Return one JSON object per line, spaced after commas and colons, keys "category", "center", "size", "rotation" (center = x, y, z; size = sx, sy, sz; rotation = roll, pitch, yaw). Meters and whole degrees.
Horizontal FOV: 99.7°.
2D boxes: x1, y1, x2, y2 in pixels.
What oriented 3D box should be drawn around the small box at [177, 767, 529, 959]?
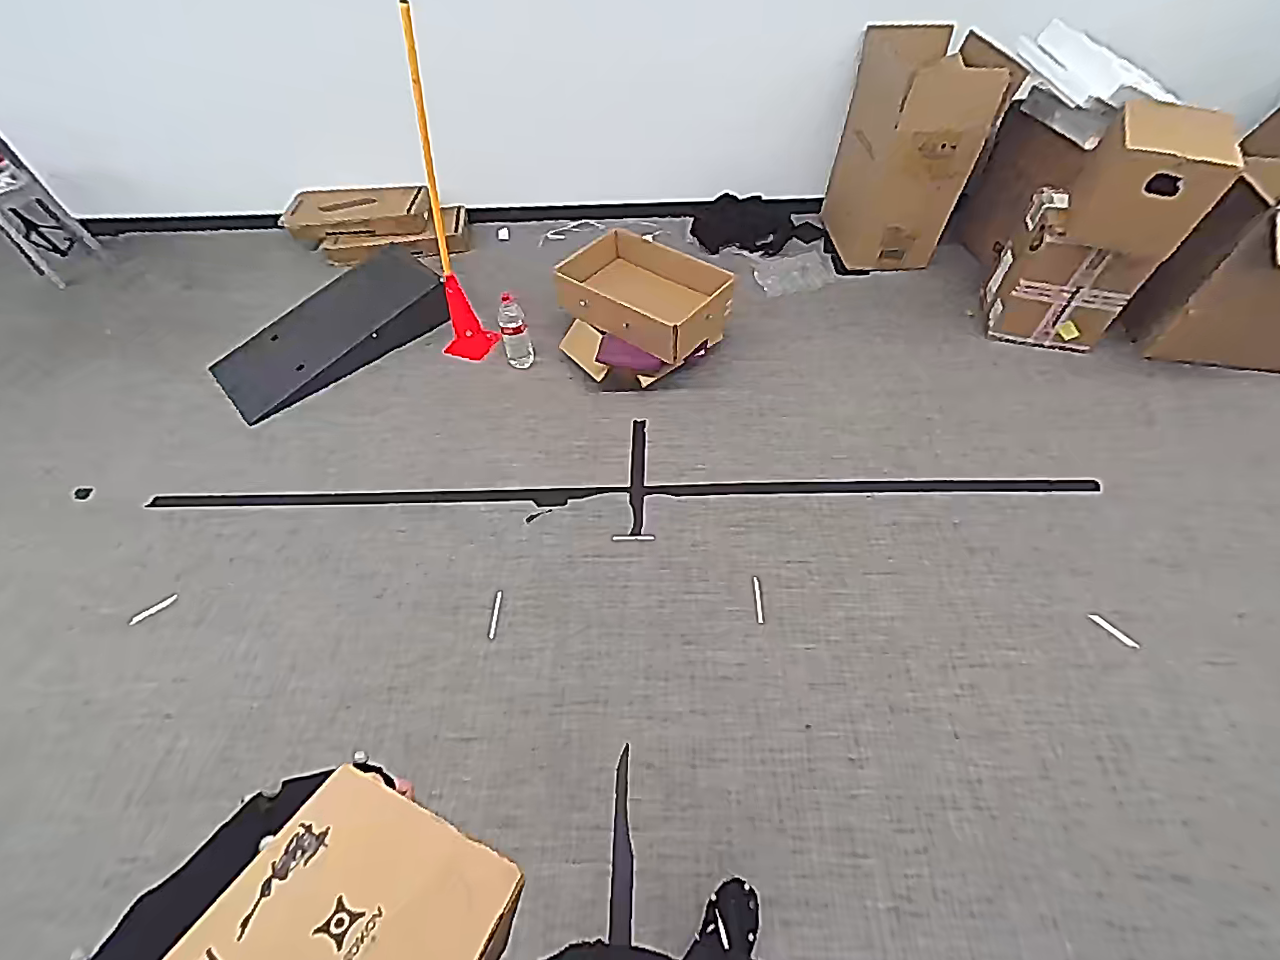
{"category": "small box", "center": [-0.209, 0.370, 0.413], "size": [0.179, 0.176, 0.168], "rotation": [24, 34, 10]}
